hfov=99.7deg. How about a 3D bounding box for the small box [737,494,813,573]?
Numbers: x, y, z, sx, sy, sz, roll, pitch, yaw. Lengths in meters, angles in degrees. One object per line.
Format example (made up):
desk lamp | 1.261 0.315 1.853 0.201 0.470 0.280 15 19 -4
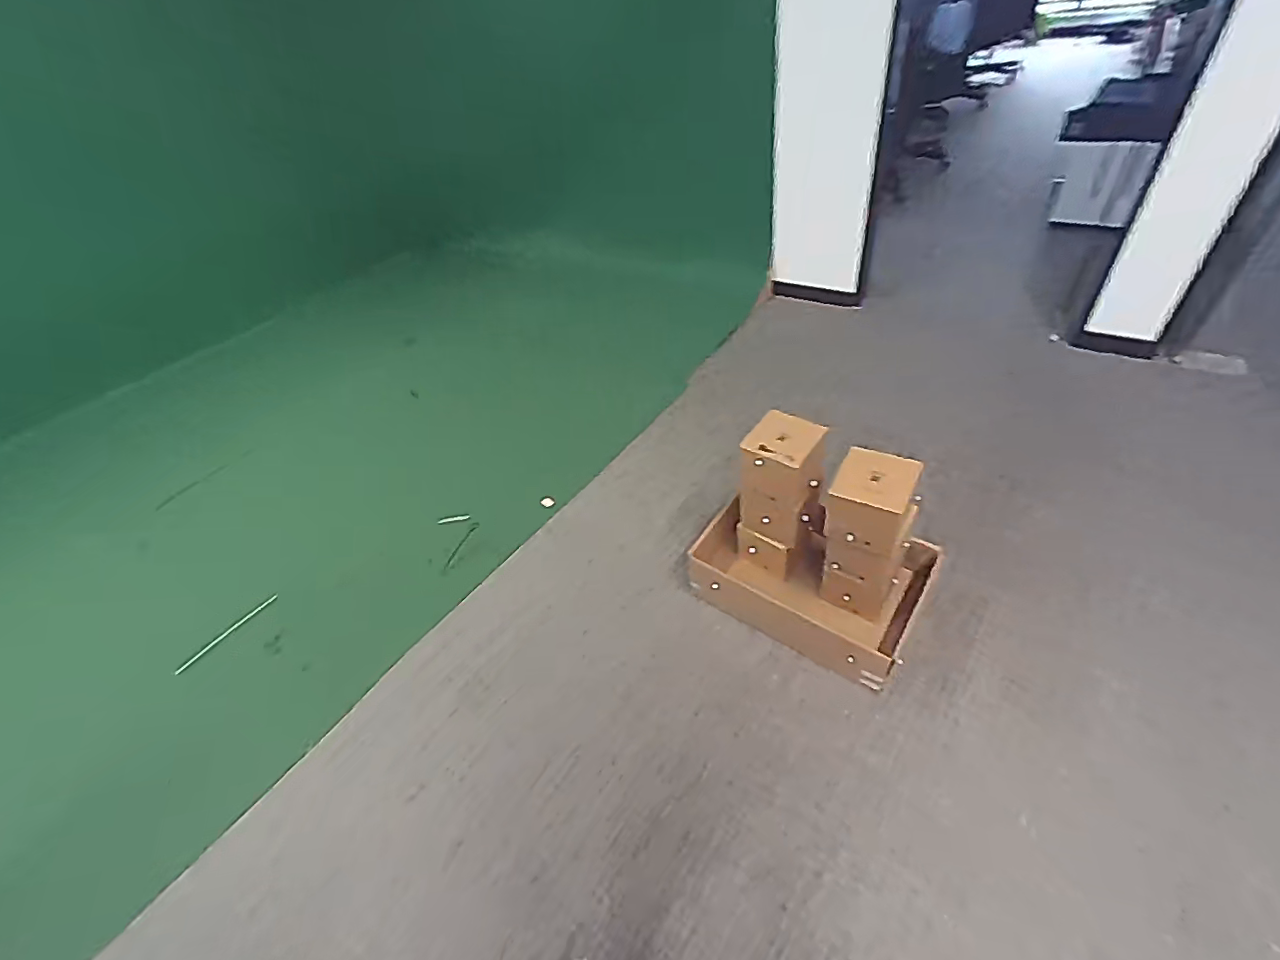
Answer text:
small box | 0.422 0.158 1.689 0.168 0.176 0.179 28 57 32

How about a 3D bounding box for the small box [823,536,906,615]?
small box | 0.636 0.253 1.548 0.168 0.176 0.179 23 56 31

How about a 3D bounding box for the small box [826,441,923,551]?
small box | 0.561 0.039 1.310 0.168 0.176 0.179 19 55 29

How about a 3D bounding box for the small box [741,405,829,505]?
small box | 0.383 -0.066 1.451 0.168 0.176 0.179 26 56 32
